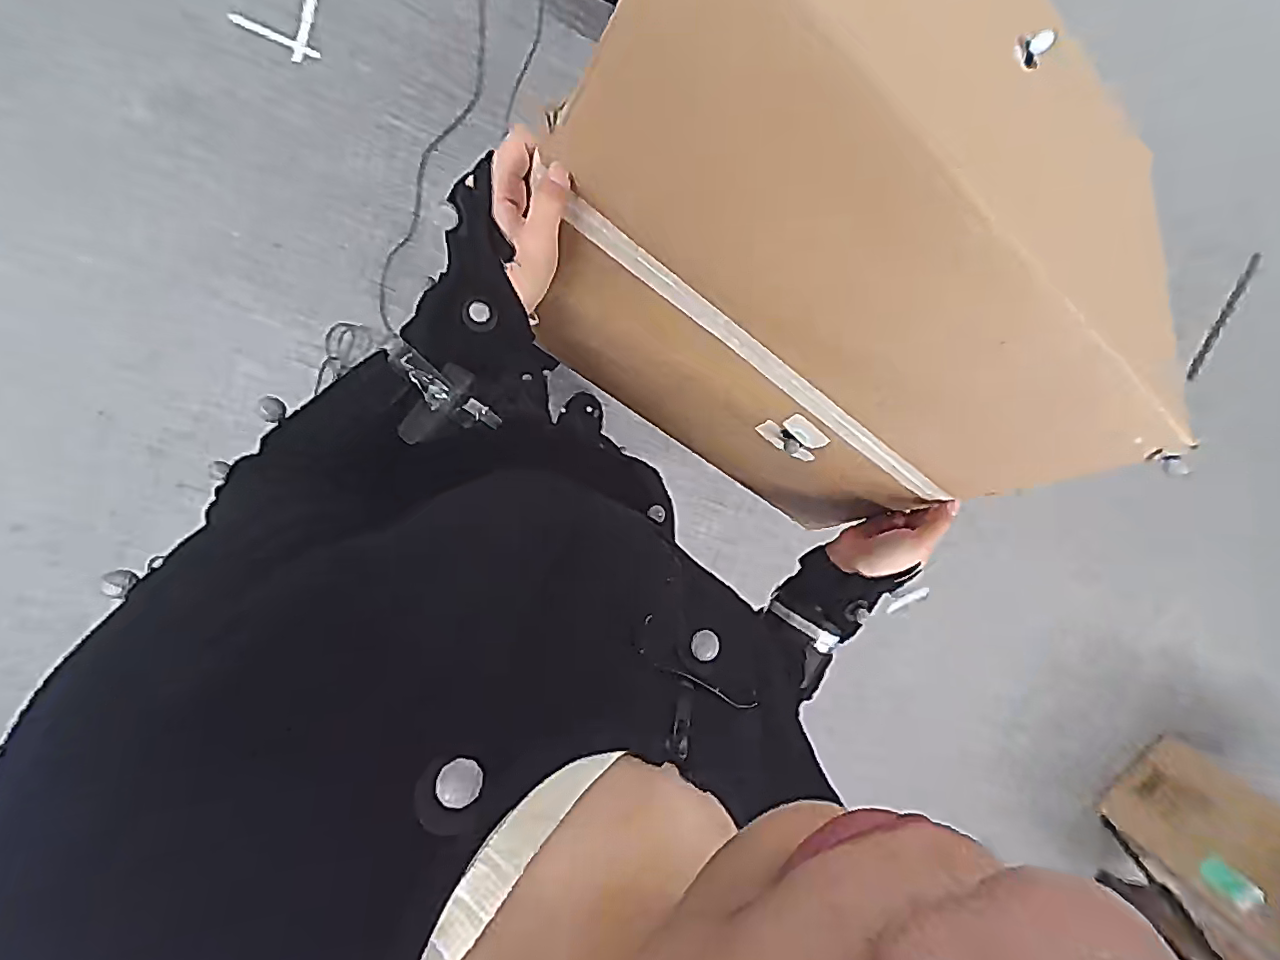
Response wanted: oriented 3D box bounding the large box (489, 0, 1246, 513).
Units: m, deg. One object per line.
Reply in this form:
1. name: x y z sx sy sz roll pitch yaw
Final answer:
1. large box: 0.155 -0.221 0.434 0.408 0.320 0.320 30 64 -20
